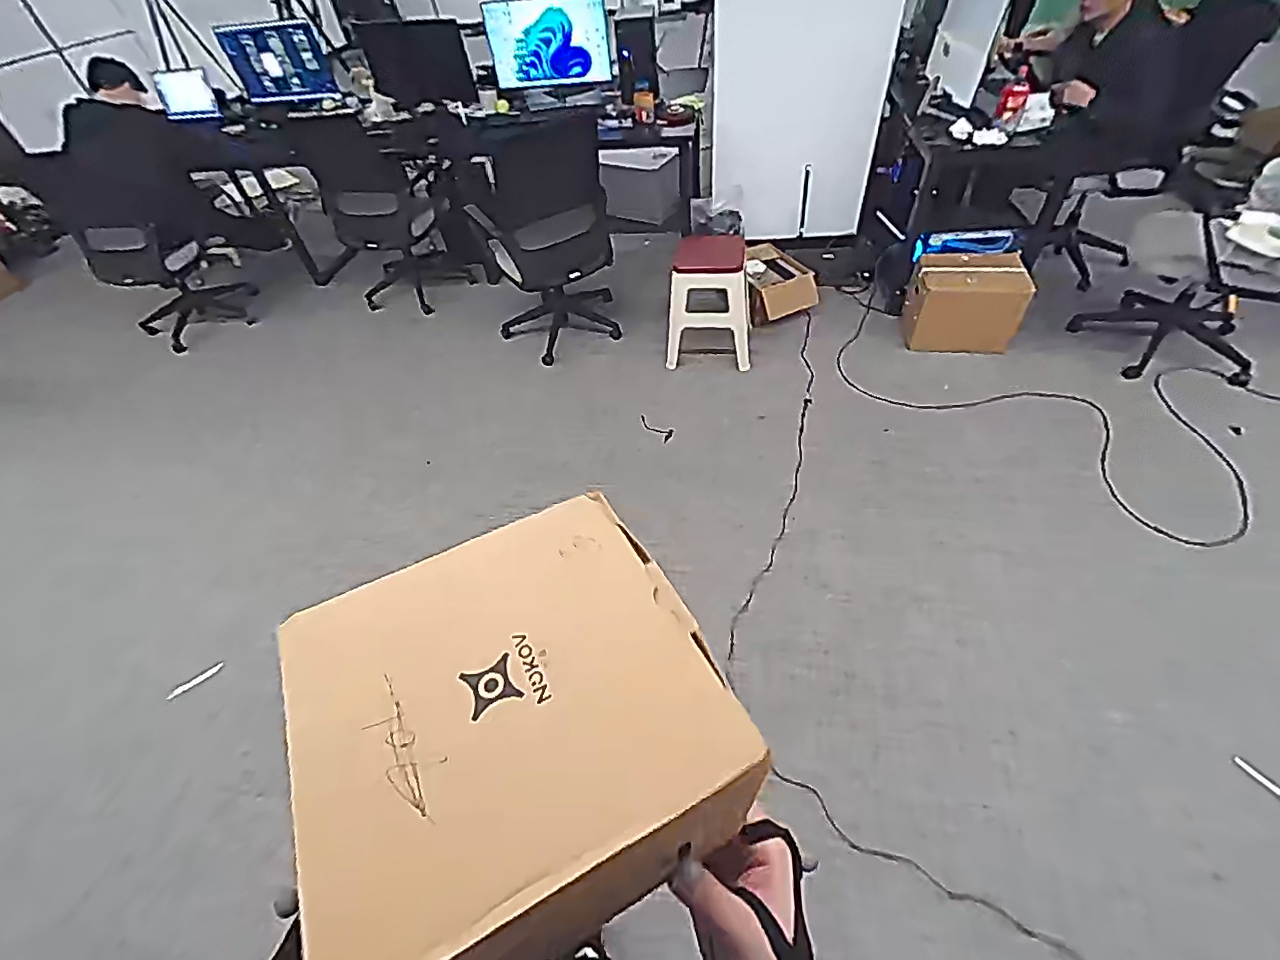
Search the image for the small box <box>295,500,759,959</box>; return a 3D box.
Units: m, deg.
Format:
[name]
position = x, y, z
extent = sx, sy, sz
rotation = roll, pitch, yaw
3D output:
[small box]
position = -0.059, 0.148, 0.311
extent = 0.179, 0.176, 0.168
rotation = -24, 50, -17
